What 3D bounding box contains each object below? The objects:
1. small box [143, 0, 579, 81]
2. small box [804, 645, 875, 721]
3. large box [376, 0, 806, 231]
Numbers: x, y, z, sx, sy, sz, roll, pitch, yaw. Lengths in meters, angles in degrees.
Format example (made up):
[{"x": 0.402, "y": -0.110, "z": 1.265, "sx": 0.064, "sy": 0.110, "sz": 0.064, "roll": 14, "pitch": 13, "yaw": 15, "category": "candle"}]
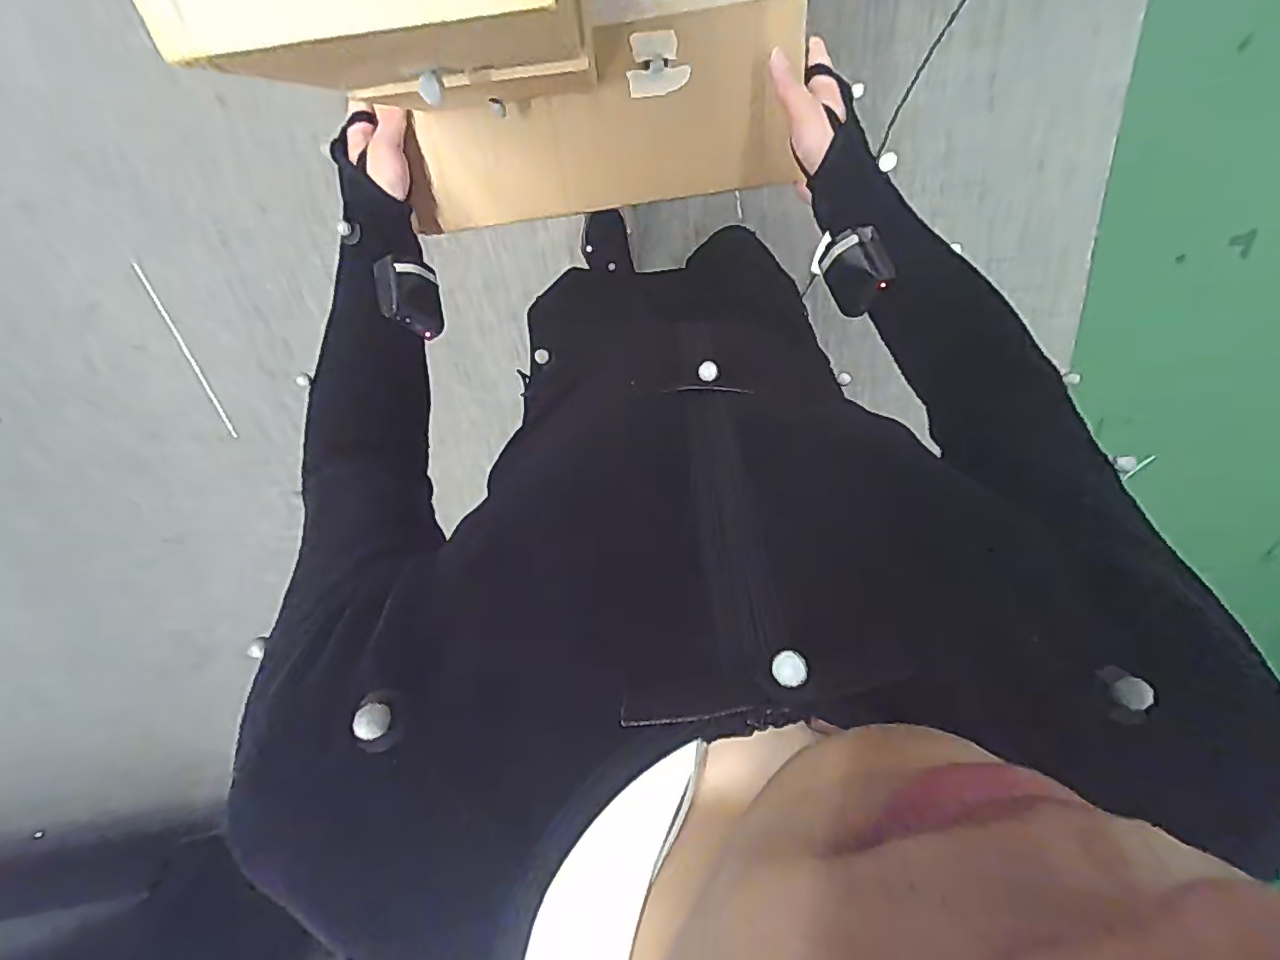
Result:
[{"x": -0.124, "y": -0.301, "z": 0.240, "sx": 0.168, "sy": 0.176, "sz": 0.179, "roll": -7, "pitch": 123, "yaw": 2, "category": "small box"}, {"x": 0.657, "y": 0.675, "z": 1.804, "sx": 0.168, "sy": 0.176, "sz": 0.179, "roll": -1, "pitch": 116, "yaw": -1, "category": "small box"}, {"x": -0.060, "y": -0.495, "z": 0.603, "sx": 0.408, "sy": 0.320, "sz": 0.320, "roll": -8, "pitch": 123, "yaw": 2, "category": "large box"}]
